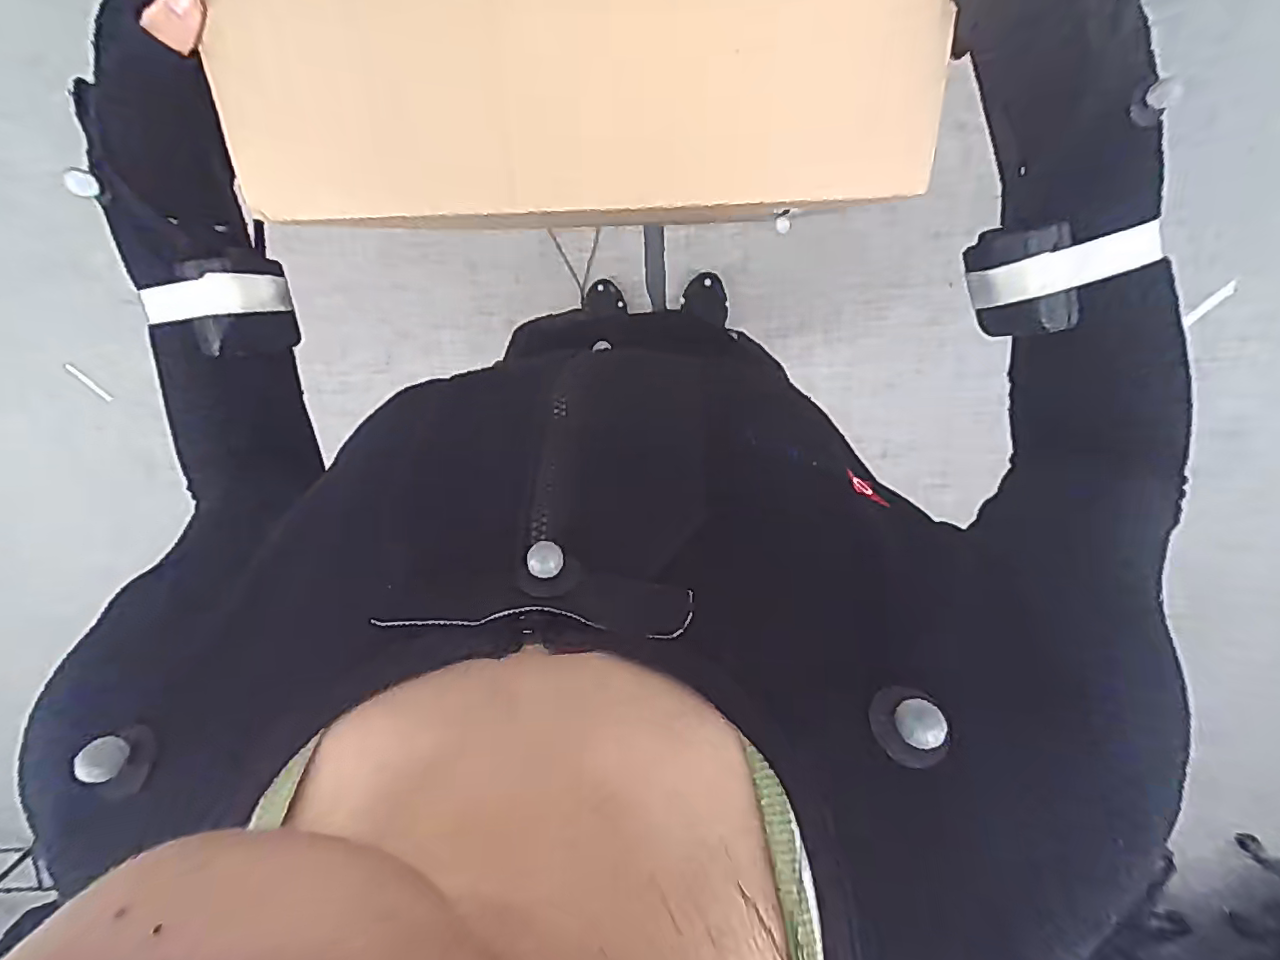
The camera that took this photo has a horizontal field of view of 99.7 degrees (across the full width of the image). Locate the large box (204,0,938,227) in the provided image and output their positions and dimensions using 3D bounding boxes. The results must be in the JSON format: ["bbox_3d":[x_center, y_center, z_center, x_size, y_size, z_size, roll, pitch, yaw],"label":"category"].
[{"bbox_3d":[-0.035,-0.369,0.406,0.408,0.320,0.320,-1,113,2],"label":"large box"}]
